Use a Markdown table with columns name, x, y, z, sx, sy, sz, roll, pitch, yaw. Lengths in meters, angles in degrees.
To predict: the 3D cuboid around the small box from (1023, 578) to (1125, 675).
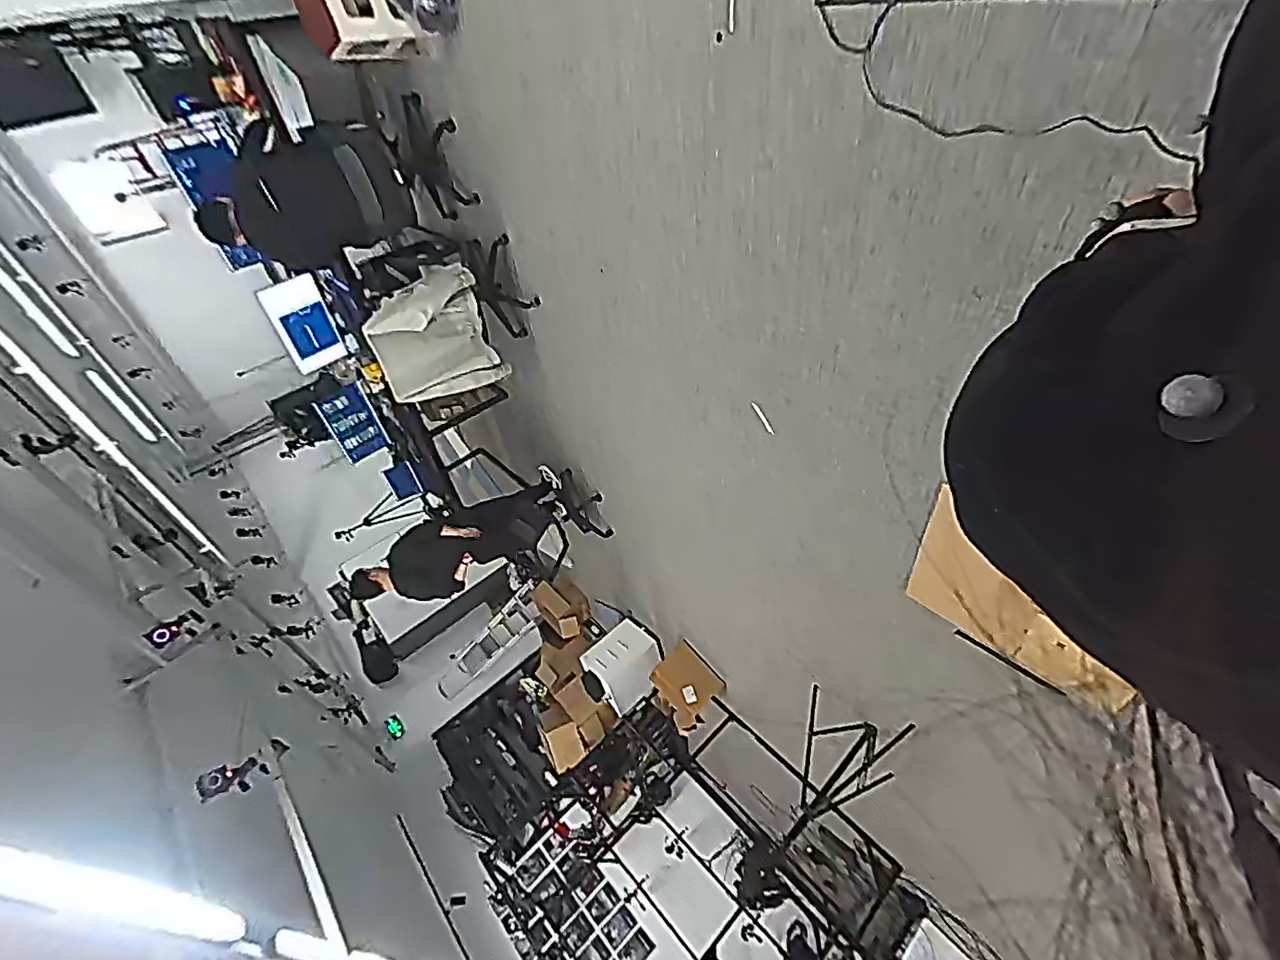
| name | x | y | z | sx | sy | sz | roll | pitch | yaw |
| --- | --- | --- | --- | --- | --- | --- | --- | --- | --- |
| small box | 1.266 | 0.420 | 1.577 | 0.168 | 0.176 | 0.179 | 32 | 146 | 39 |
